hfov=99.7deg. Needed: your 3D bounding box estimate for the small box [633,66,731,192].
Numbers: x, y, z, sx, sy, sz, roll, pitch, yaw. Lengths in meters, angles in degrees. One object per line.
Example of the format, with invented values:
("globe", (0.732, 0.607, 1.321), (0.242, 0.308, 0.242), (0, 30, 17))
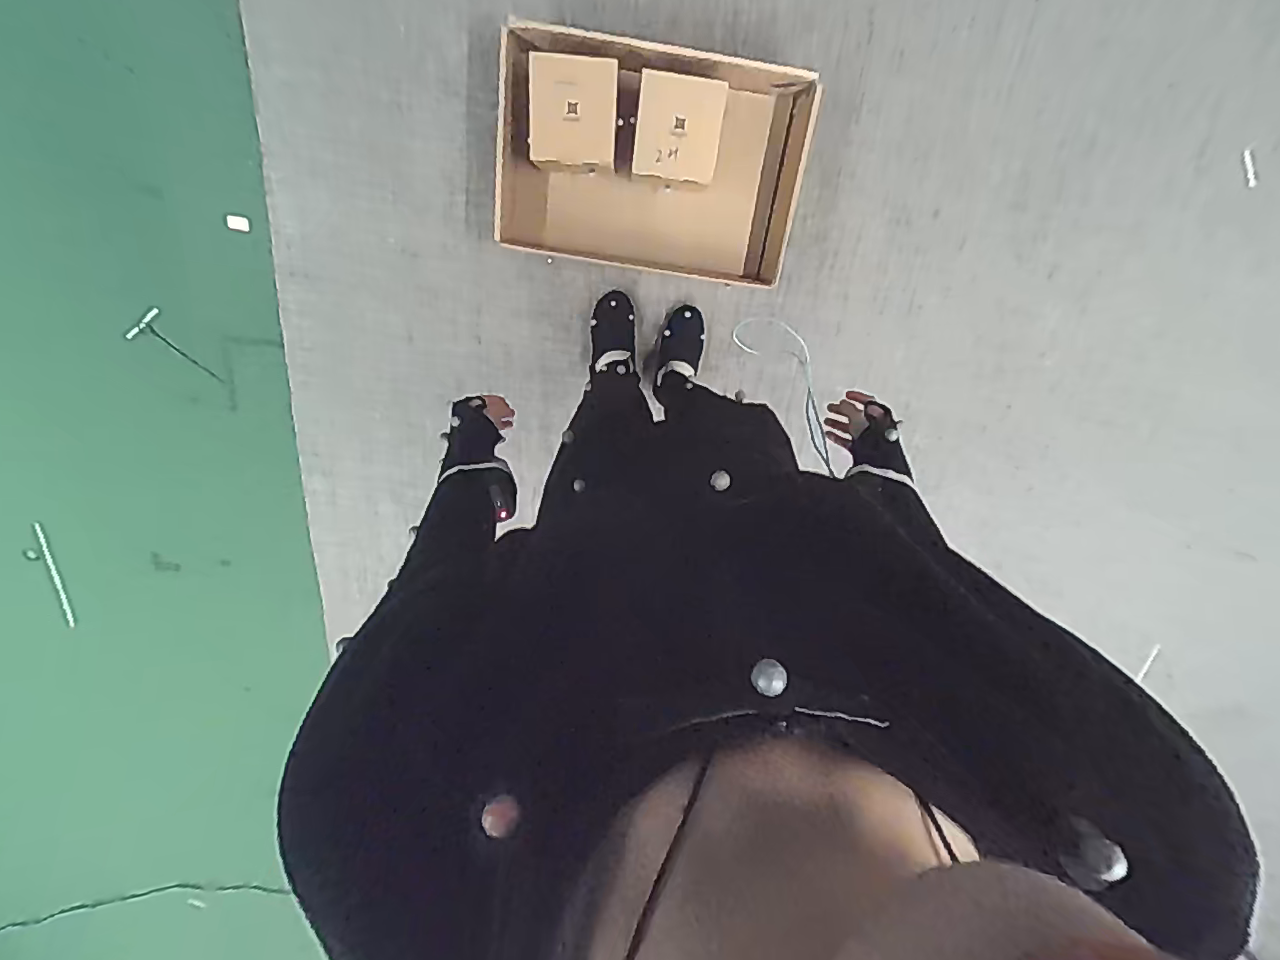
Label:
("small box", (0.078, -0.707, 1.108), (0.168, 0.176, 0.179), (8, 113, -2))
